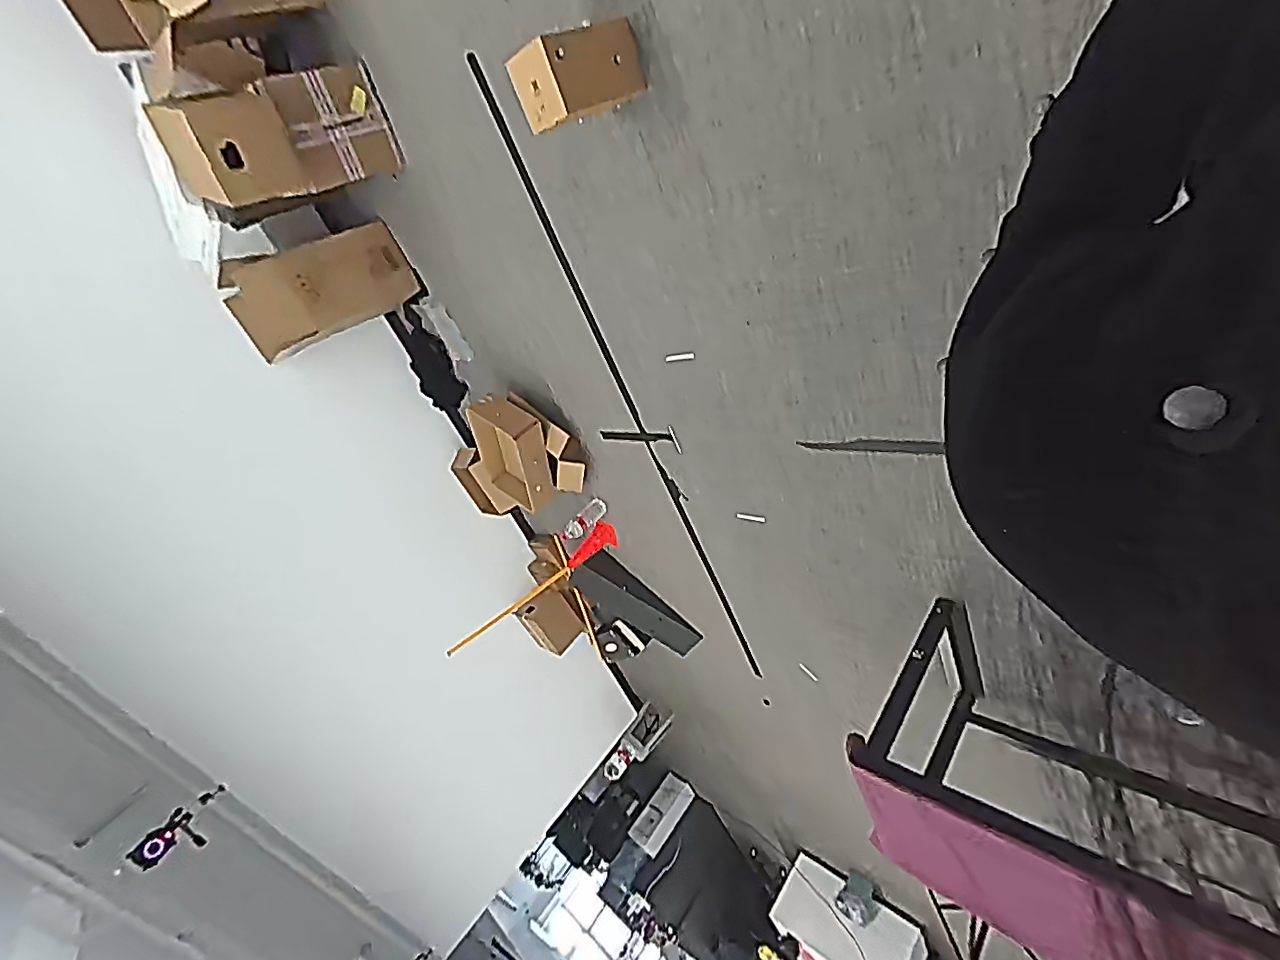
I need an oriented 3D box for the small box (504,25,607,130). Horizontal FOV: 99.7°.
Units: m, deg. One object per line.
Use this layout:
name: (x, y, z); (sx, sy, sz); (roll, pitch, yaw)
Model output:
small box: (-0.220, -1.074, 1.440); (0.168, 0.176, 0.179); (11, 135, 46)
